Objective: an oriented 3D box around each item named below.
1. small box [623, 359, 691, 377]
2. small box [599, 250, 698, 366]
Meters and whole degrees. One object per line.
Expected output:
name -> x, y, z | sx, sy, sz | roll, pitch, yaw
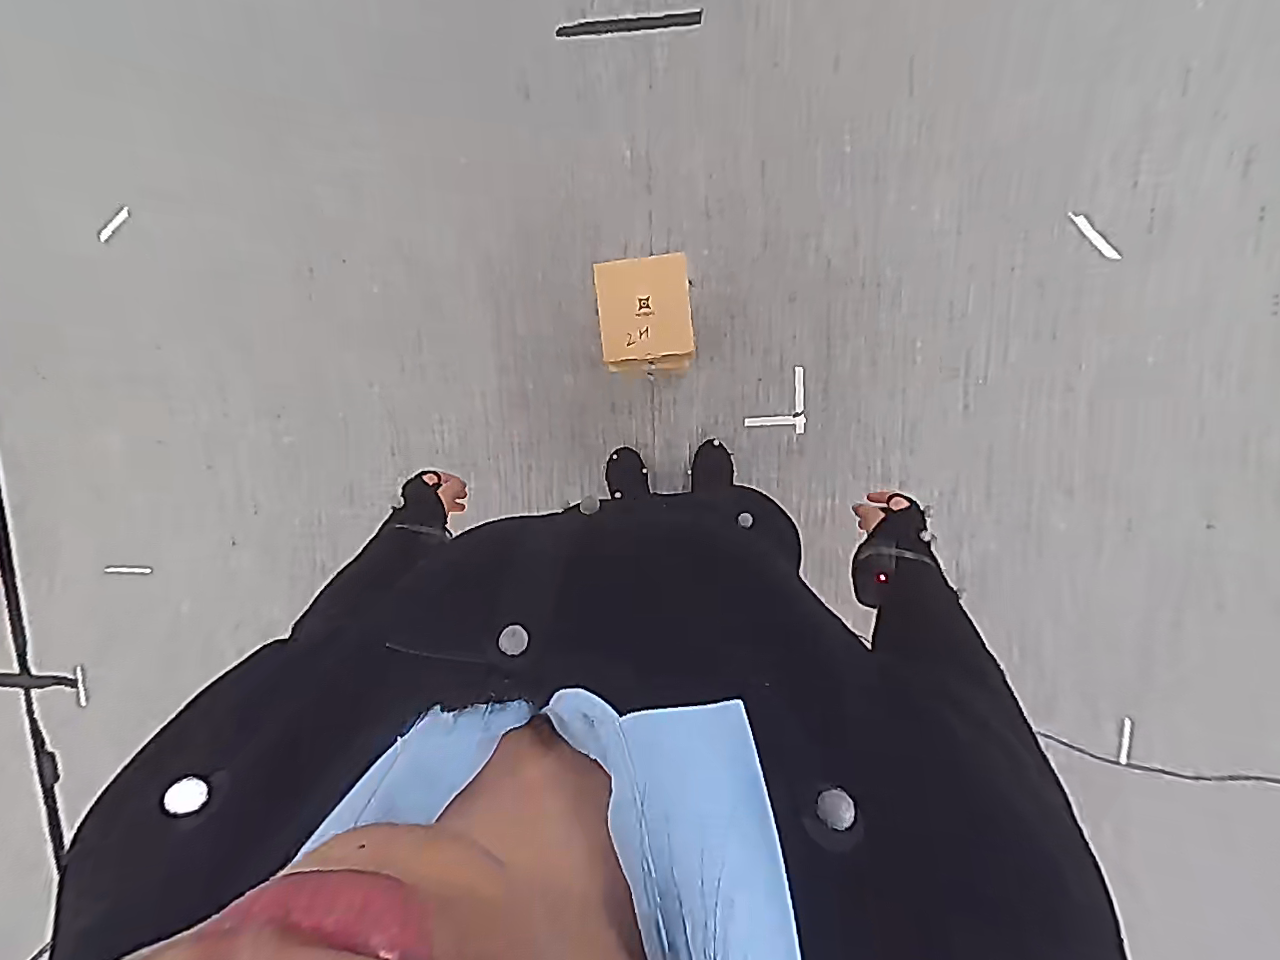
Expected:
small box -> 0.043, -0.354, 1.359 | 0.168, 0.176, 0.179 | -1, 98, 5
small box -> 0.020, -0.318, 1.032 | 0.168, 0.176, 0.179 | -5, 98, 6
